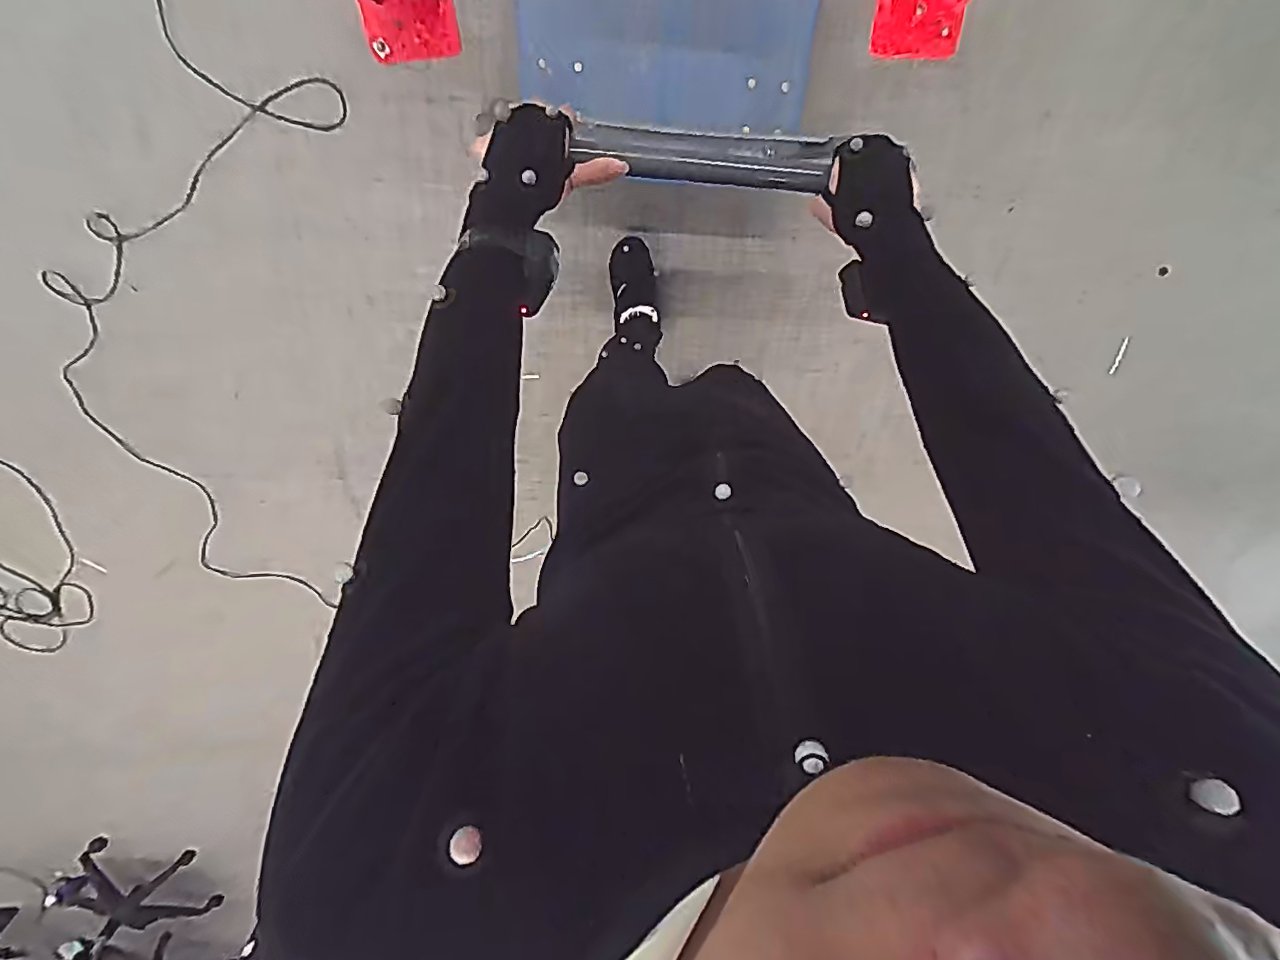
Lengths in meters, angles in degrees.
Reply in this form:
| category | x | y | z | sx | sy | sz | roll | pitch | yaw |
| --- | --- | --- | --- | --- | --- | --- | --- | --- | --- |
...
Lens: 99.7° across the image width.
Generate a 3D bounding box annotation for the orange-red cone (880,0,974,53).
| category | x | y | z | sx | sy | sz | roll | pitch | yaw |
| --- | --- | --- | --- | --- | --- | --- | --- | --- | --- |
| orange-red cone | 0.631 | -0.968 | 1.001 | 0.198 | 0.360 | 0.199 | 1 | 115 | -3 |
